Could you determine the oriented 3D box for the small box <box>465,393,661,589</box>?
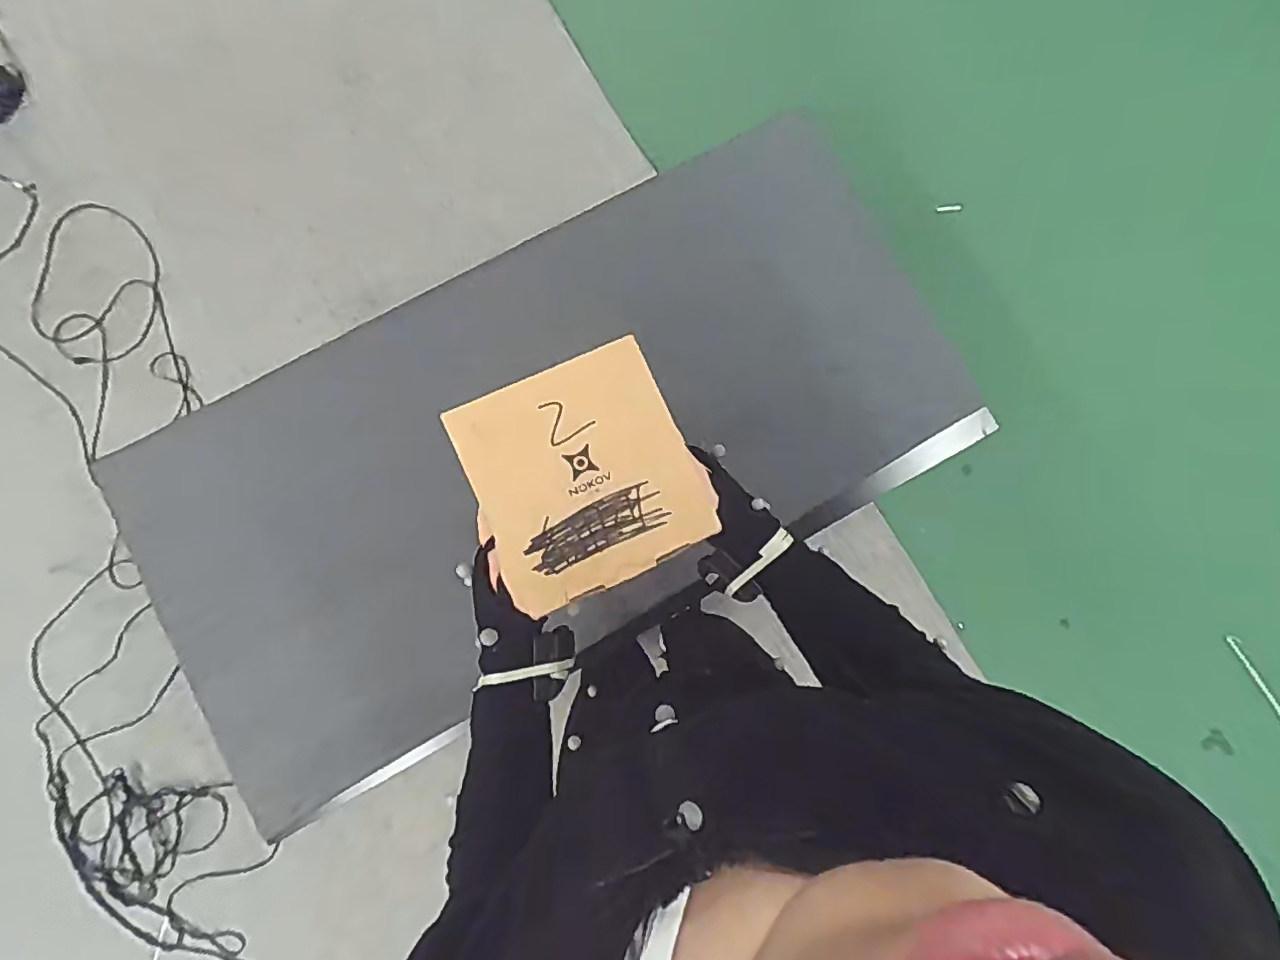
[{"bbox_3d":[-0.090,0.021,0.694,0.168,0.176,0.179,-33,85,-4],"label":"small box"}]
